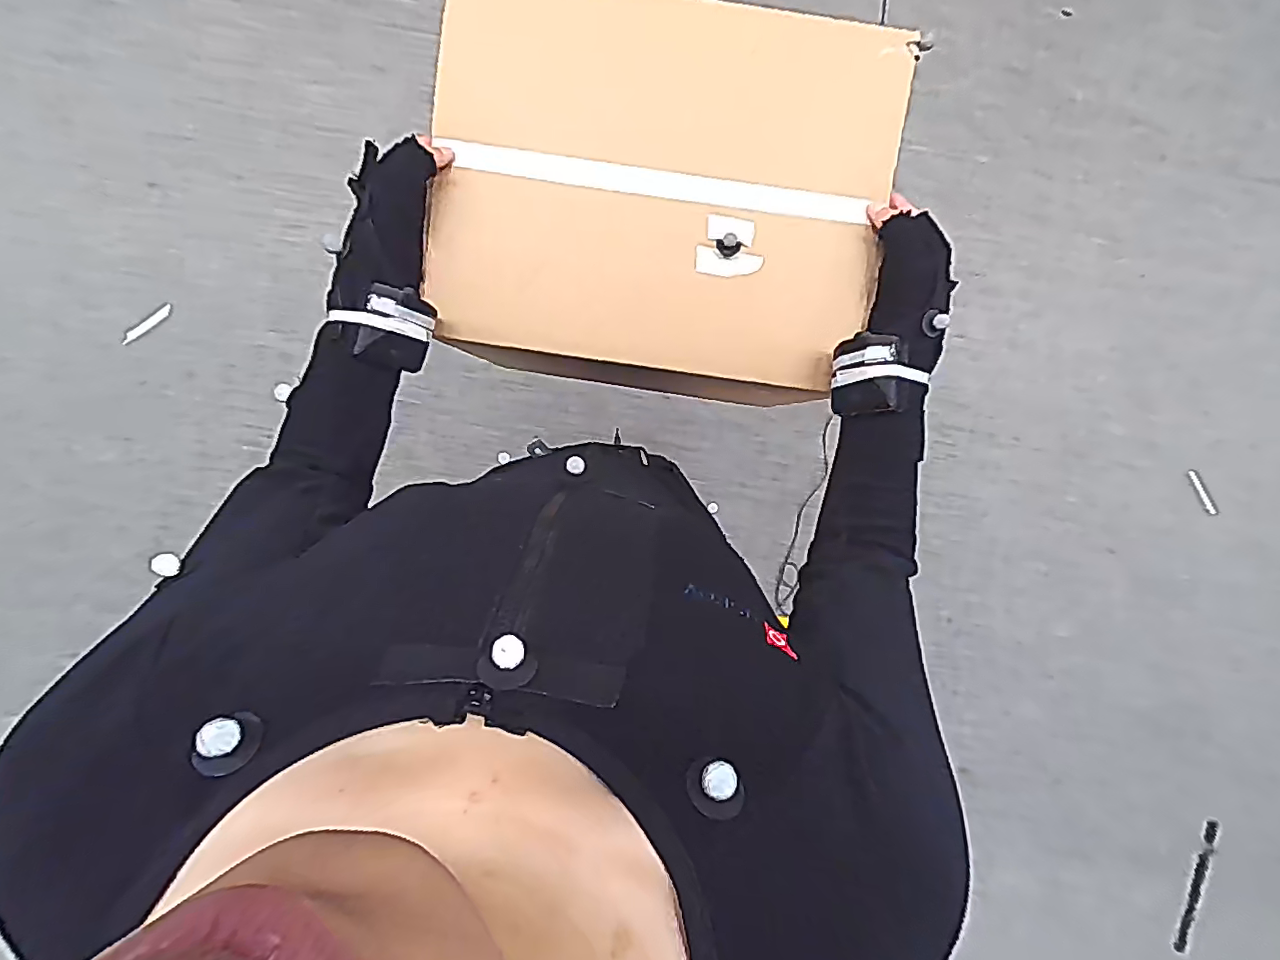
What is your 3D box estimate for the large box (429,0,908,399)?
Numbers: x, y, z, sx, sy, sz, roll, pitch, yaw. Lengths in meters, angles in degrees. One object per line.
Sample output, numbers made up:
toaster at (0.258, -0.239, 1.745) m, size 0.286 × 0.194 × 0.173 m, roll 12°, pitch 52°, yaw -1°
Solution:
large box at (0.018, -0.279, 0.629) m, size 0.408 × 0.320 × 0.320 m, roll 8°, pitch 96°, yaw -2°
